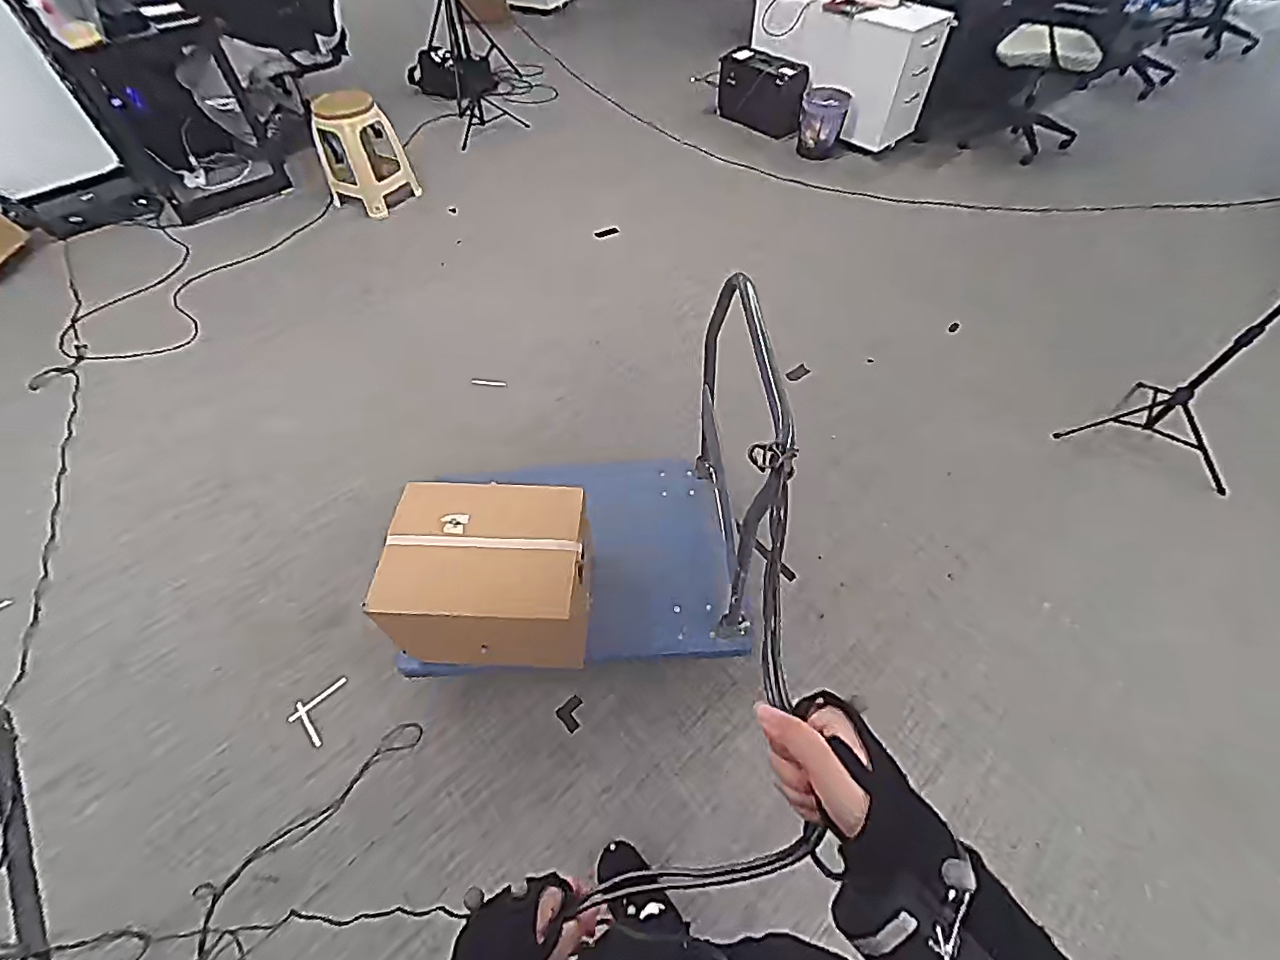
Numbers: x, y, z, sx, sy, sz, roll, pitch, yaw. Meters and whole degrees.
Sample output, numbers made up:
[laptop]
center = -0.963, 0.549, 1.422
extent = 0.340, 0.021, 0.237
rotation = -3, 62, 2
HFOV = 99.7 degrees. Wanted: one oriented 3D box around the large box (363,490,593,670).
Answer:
[large box]
center = -0.328, 0.235, 1.237
extent = 0.408, 0.320, 0.320
rotation = 1, 53, 2
